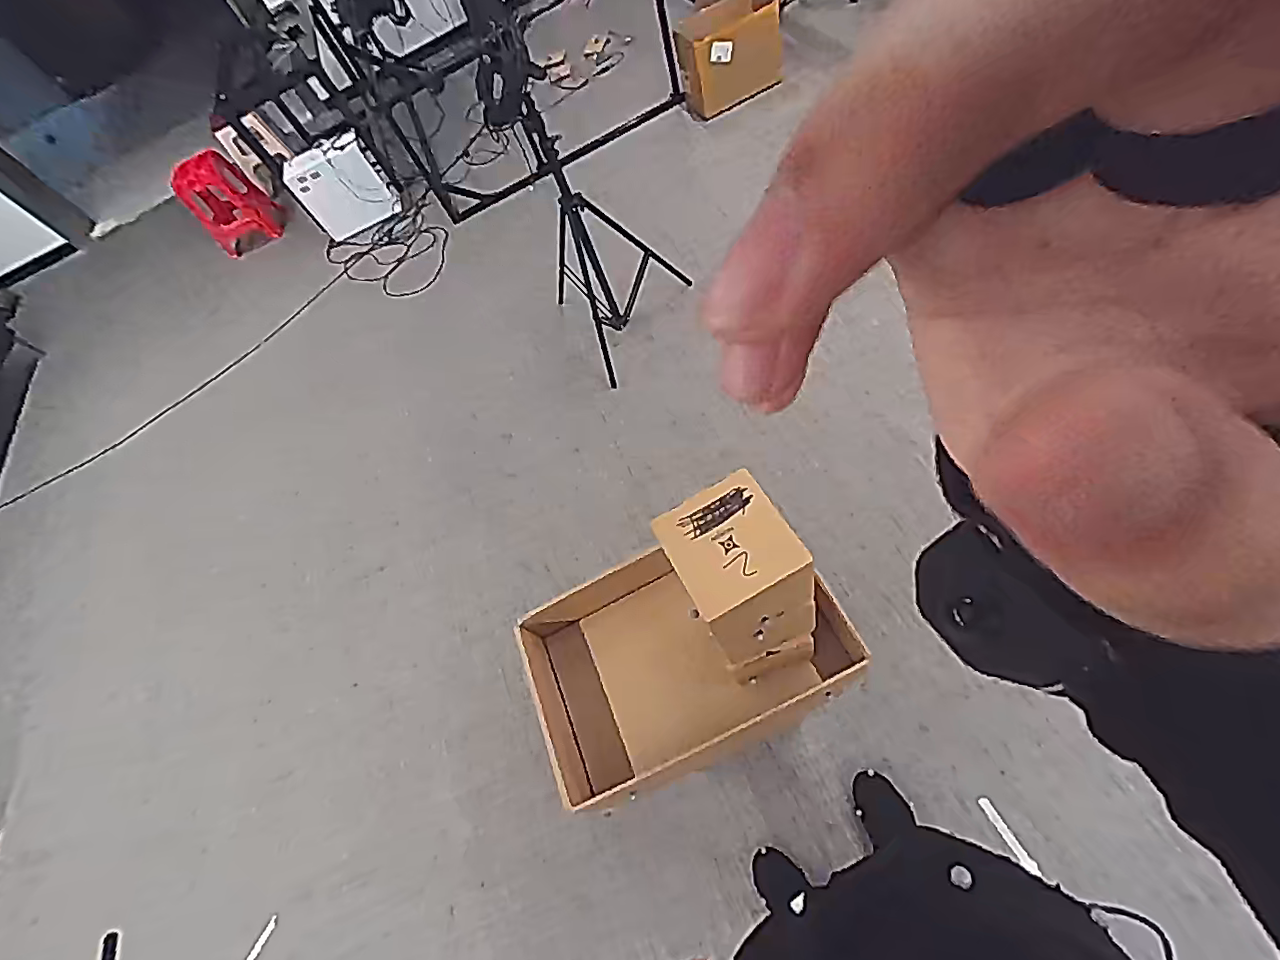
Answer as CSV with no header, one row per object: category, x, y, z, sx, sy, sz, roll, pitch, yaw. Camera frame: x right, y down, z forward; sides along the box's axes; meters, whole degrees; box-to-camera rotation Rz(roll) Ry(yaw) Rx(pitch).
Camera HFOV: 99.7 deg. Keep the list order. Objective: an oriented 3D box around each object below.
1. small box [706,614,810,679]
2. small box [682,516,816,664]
small box,0.231,0.286,1.083,0.168,0.176,0.179,-21,56,4
small box,0.192,0.198,0.951,0.168,0.176,0.179,-25,56,3
